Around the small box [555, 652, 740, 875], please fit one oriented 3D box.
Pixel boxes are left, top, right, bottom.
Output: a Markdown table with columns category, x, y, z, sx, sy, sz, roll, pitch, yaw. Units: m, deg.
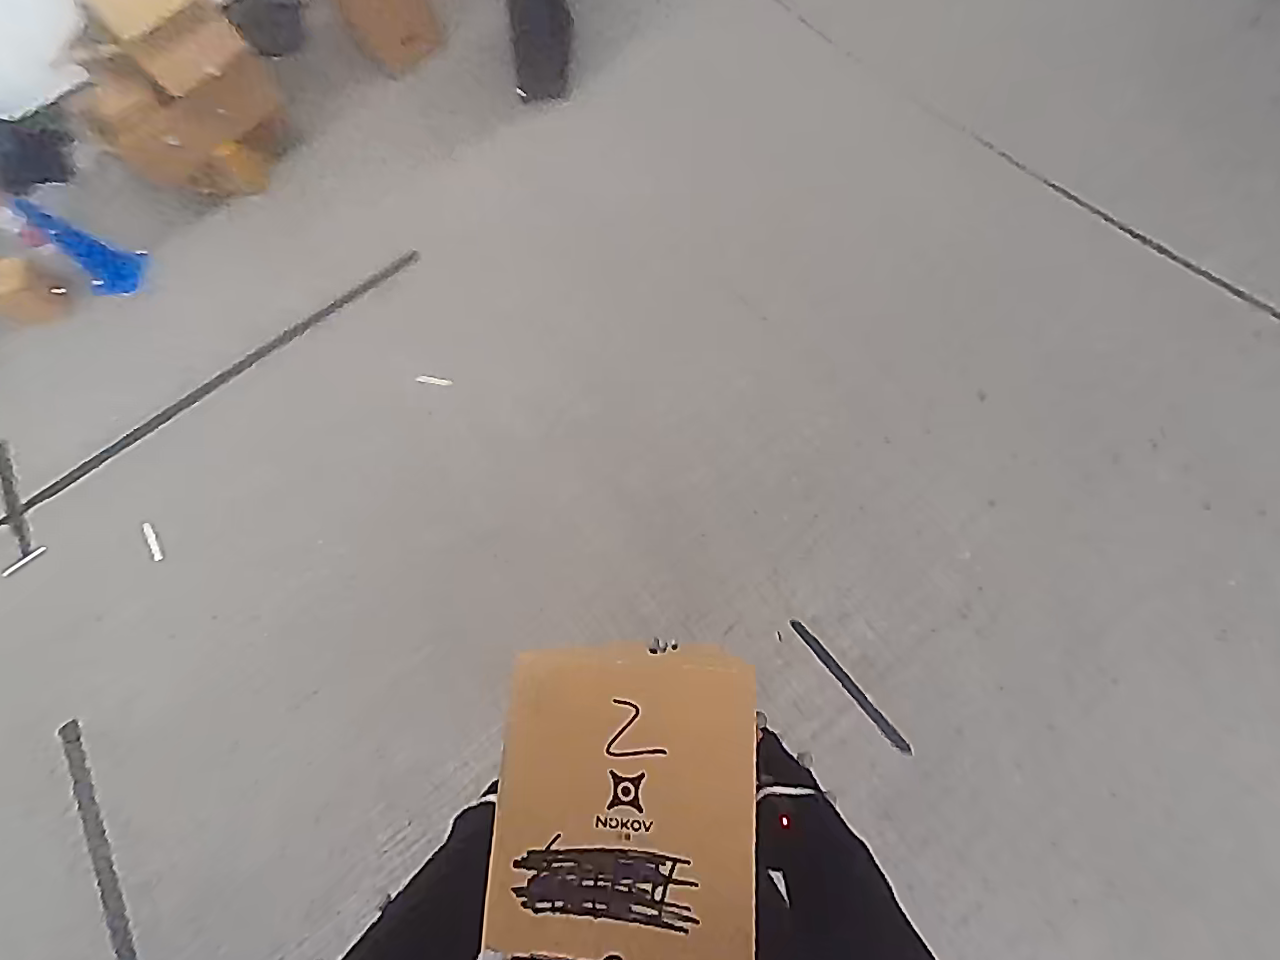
| category | x | y | z | sx | sy | sz | roll | pitch | yaw |
| --- | --- | --- | --- | --- | --- | --- | --- | --- | --- |
| small box | 0.015 | 0.276 | 0.570 | 0.168 | 0.176 | 0.179 | 0 | 75 | 6 |
